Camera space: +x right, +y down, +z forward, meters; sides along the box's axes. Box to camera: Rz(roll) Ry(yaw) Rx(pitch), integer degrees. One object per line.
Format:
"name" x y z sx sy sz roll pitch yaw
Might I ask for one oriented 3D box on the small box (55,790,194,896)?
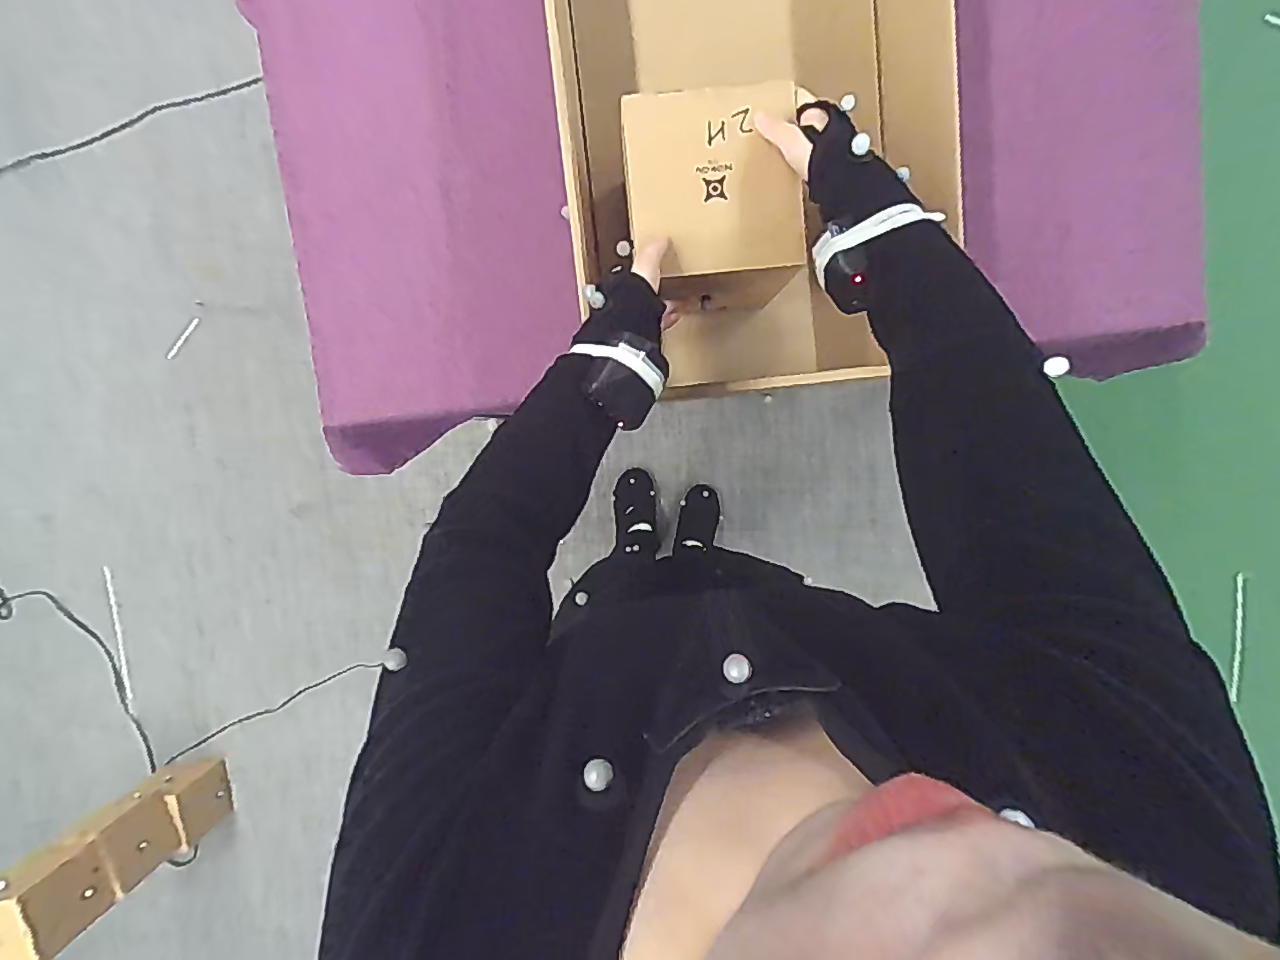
"small box" -1.309 0.931 1.385 0.168 0.176 0.179 -17 95 4

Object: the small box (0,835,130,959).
"small box" -1.331 0.950 1.224 0.179 0.176 0.168 -14 94 3
